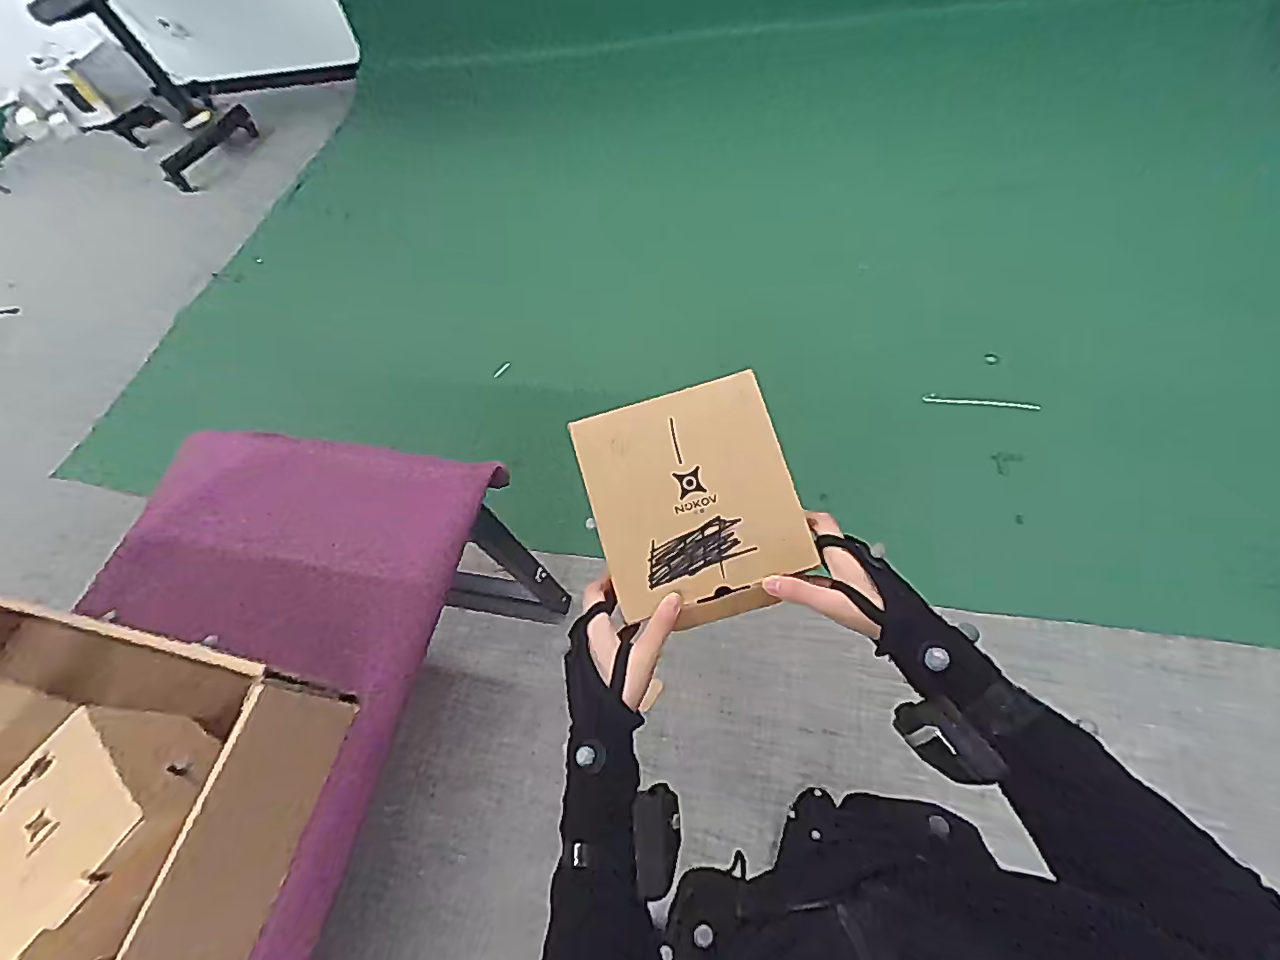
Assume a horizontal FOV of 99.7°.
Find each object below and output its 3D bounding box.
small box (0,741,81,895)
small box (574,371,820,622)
[{"bbox_3d":[-0.861,0.414,0.651,0.179,0.176,0.168,8,62,14],"label":"small box"},{"bbox_3d":[0.048,0.023,0.521,0.168,0.176,0.179,-16,79,-1],"label":"small box"}]
